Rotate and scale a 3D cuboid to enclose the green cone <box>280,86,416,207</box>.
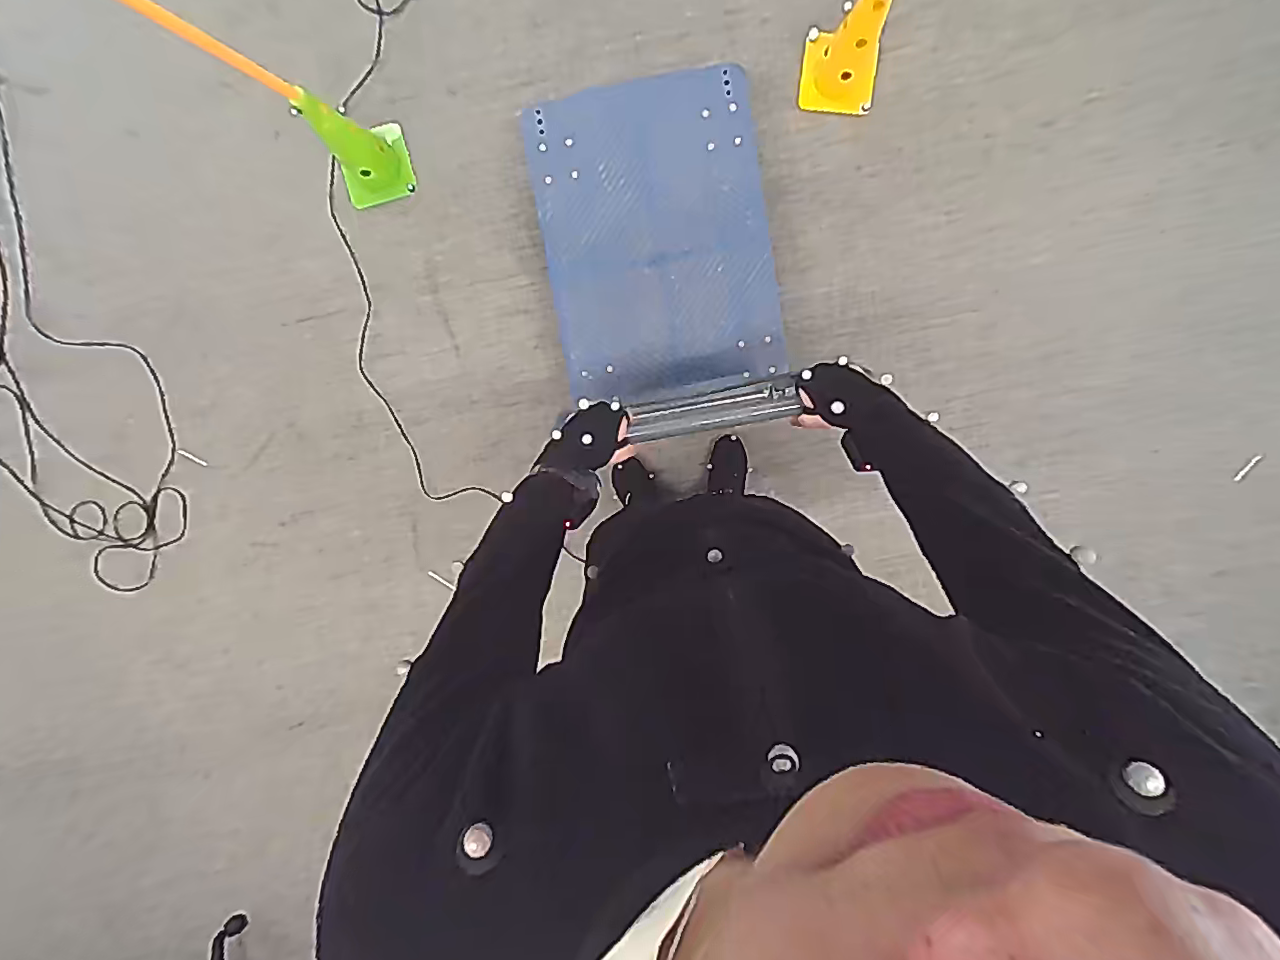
[{"bbox_3d":[-0.773,-0.892,1.392,0.202,0.368,0.200,-14,95,6],"label":"green cone"}]
